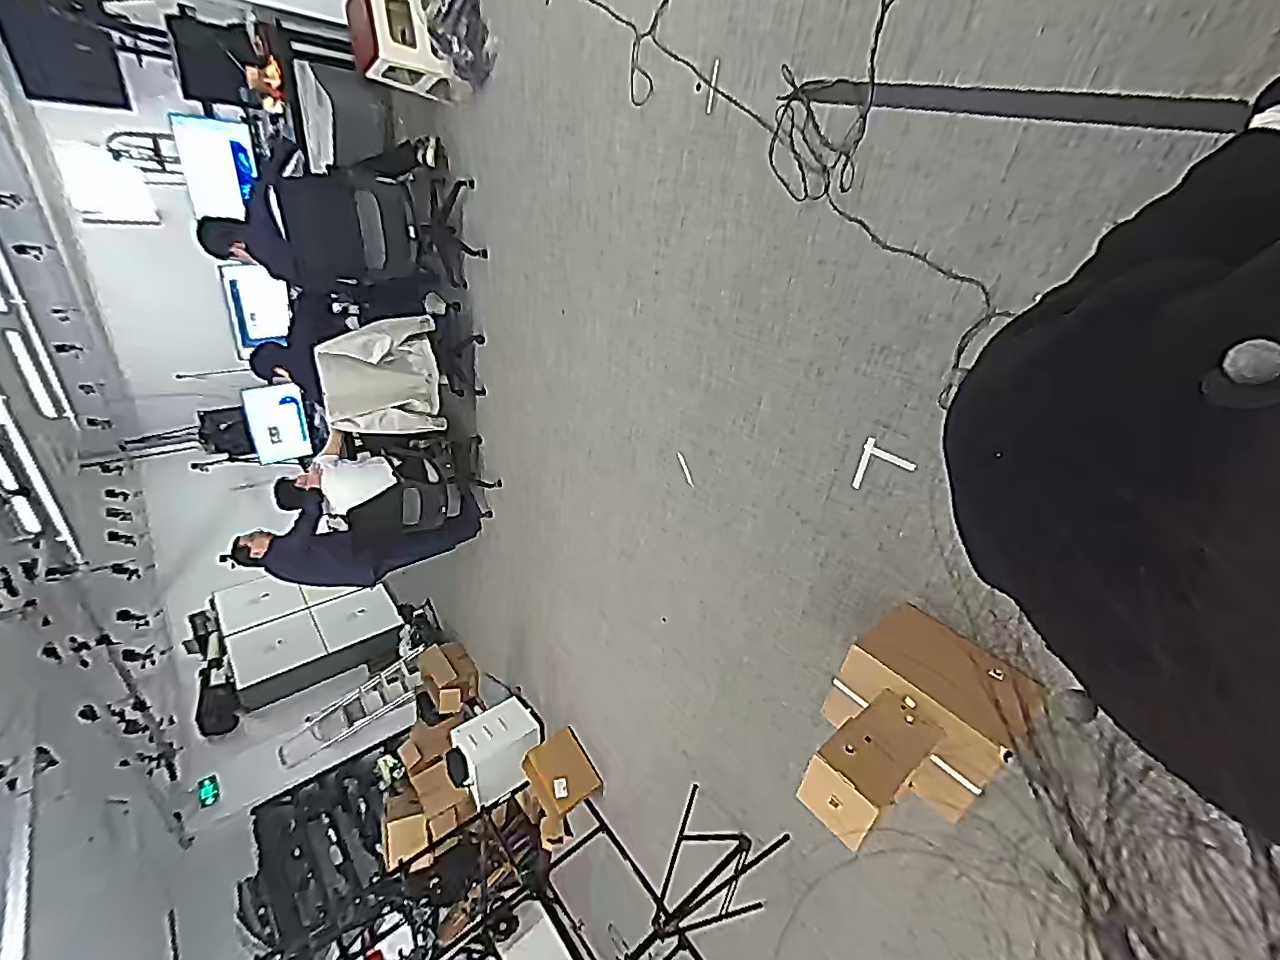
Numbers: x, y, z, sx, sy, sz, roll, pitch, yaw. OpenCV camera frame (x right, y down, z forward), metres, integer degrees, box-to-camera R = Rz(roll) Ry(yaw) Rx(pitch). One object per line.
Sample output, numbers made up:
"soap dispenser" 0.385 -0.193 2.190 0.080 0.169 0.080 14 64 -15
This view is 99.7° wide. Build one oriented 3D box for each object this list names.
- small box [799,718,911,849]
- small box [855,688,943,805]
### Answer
"small box" 0.510 0.707 1.277 0.168 0.176 0.179 34 130 40
"small box" 0.635 0.674 1.376 0.168 0.176 0.179 35 129 38
